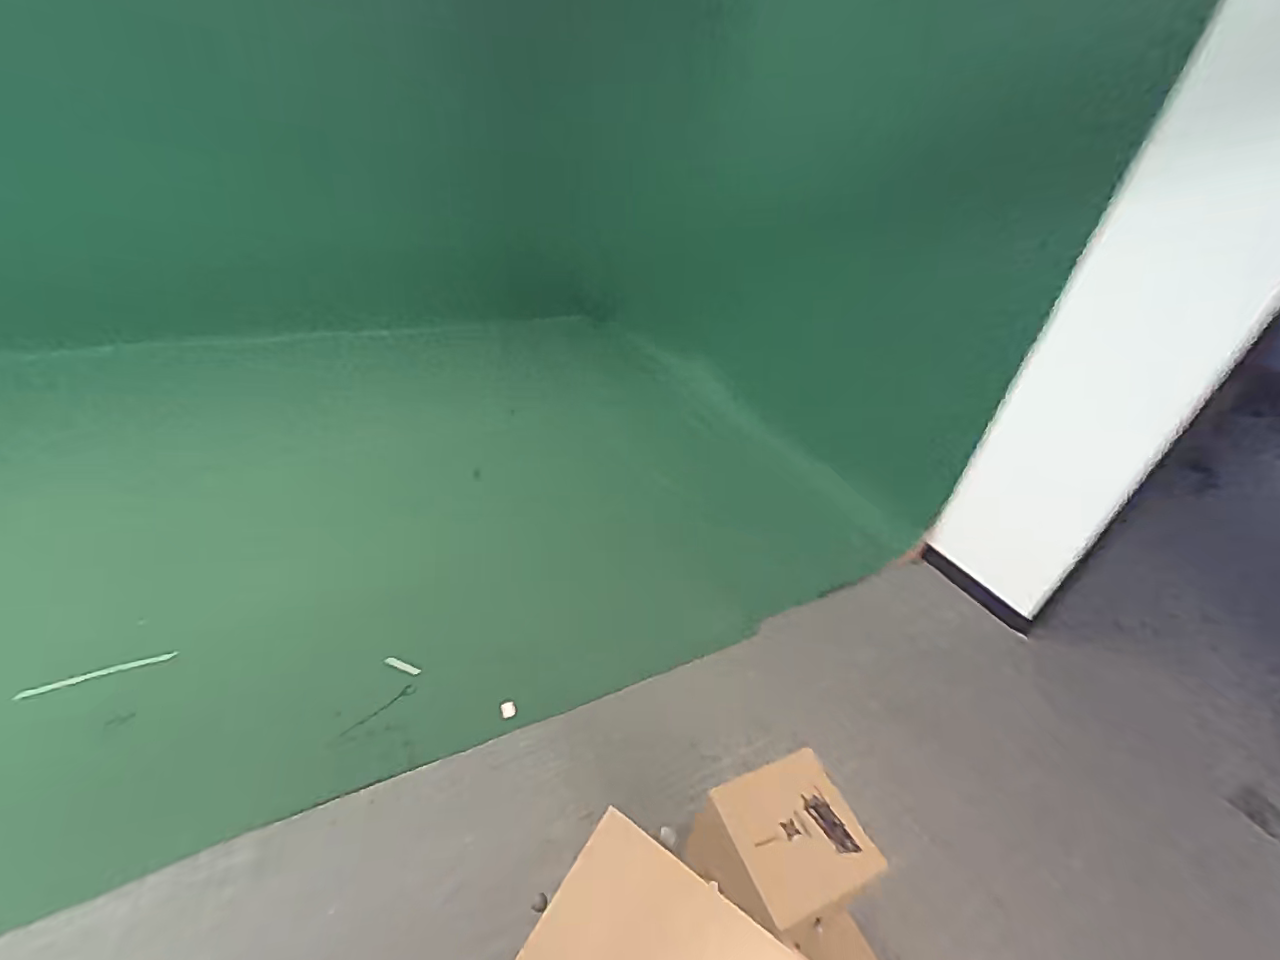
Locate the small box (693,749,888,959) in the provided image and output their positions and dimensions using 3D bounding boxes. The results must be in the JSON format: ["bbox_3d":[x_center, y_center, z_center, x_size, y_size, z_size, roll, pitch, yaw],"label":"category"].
[{"bbox_3d":[0.193,0.513,0.744,0.179,0.176,0.168,-9,39,-22],"label":"small box"}]

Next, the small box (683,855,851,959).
[{"bbox_3d":[0.186,0.643,0.844,0.179,0.176,0.168,-10,39,-22],"label":"small box"}]
